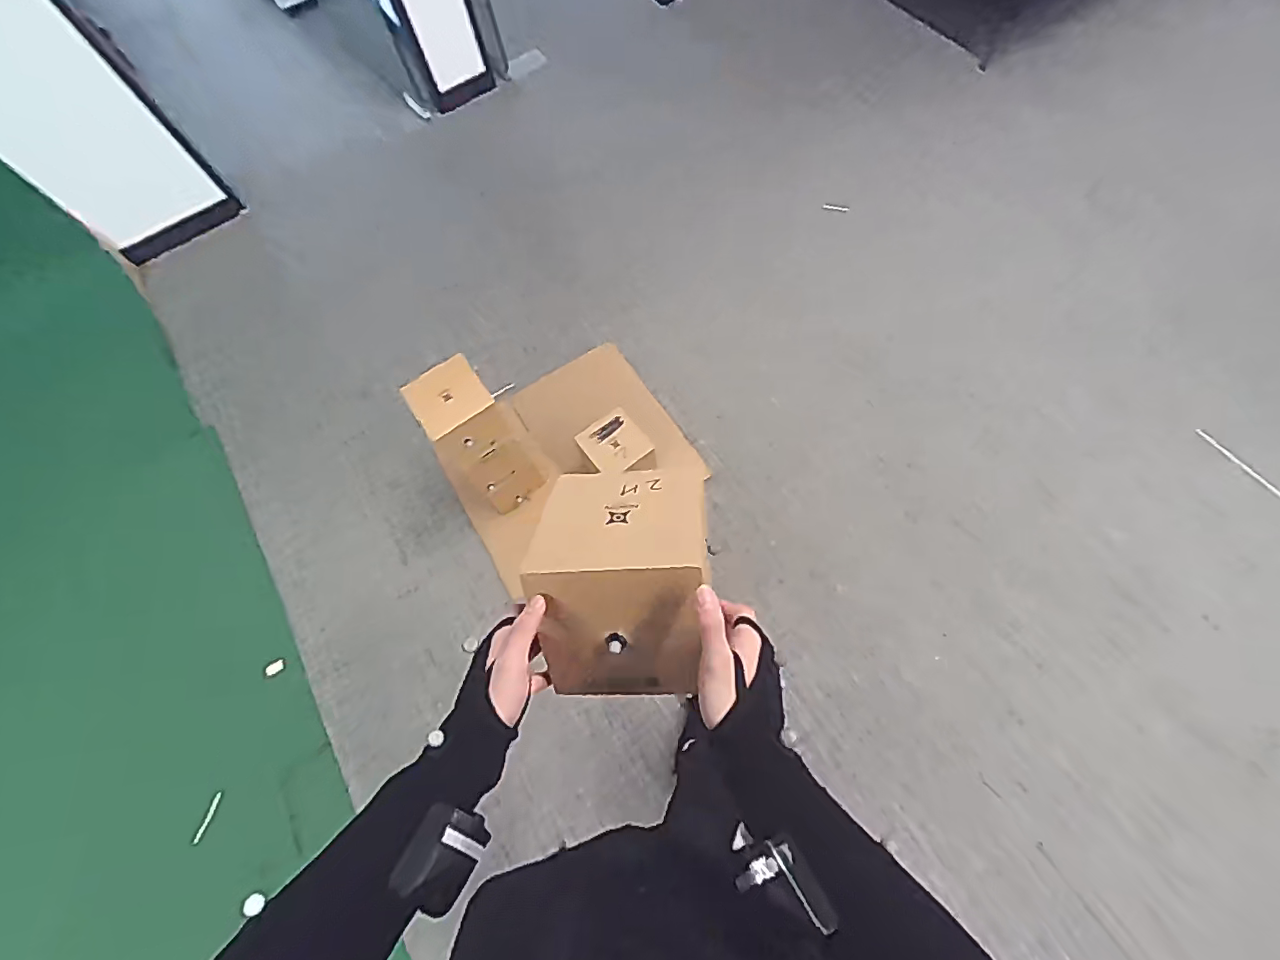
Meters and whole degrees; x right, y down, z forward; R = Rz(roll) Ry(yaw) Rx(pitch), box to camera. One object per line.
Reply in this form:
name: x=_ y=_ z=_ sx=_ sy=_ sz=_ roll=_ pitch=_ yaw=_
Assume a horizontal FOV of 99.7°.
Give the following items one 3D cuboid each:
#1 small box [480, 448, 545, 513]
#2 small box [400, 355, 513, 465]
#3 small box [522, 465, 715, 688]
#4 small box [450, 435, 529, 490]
small box: x=-0.409 y=-0.030 z=1.601 sx=0.168 sy=0.176 sz=0.179 roll=-39 pitch=70 yaw=-11
small box: x=-0.433 y=-0.158 z=1.303 sx=0.168 sy=0.176 sz=0.179 roll=-36 pitch=68 yaw=-9
small box: x=-0.007 y=0.101 z=0.579 sx=0.168 sy=0.176 sz=0.179 roll=-3 pitch=28 yaw=9
small box: x=-0.423 y=-0.092 z=1.451 sx=0.168 sy=0.176 sz=0.179 roll=-36 pitch=68 yaw=-9
